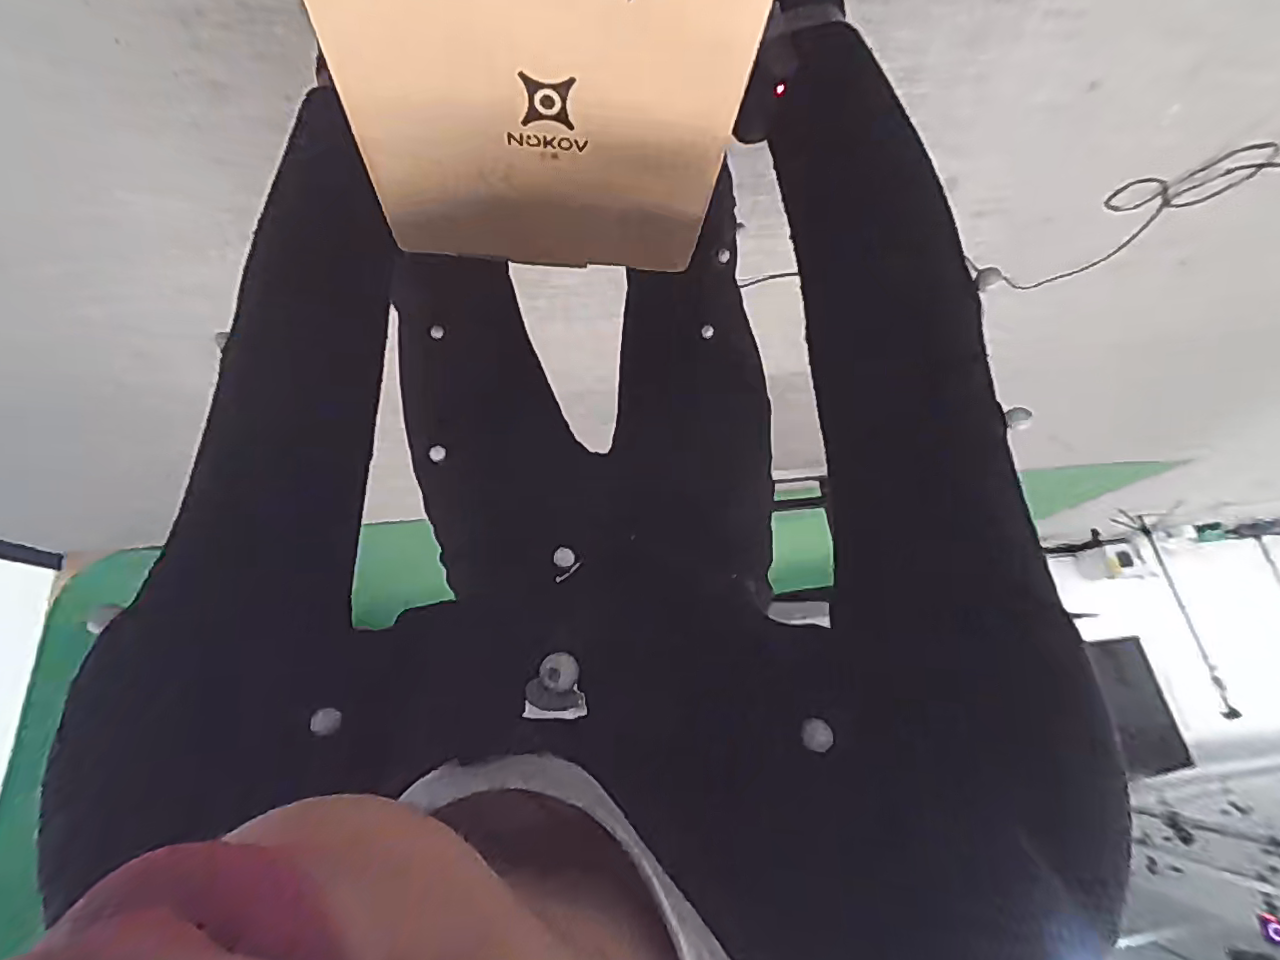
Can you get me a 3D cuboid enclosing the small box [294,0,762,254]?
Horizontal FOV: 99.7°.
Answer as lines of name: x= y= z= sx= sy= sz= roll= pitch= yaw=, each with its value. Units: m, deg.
small box: x=-0.046 y=-0.236 z=0.246 sx=0.168 sy=0.176 sz=0.179 roll=0 pitch=162 yaw=-8
